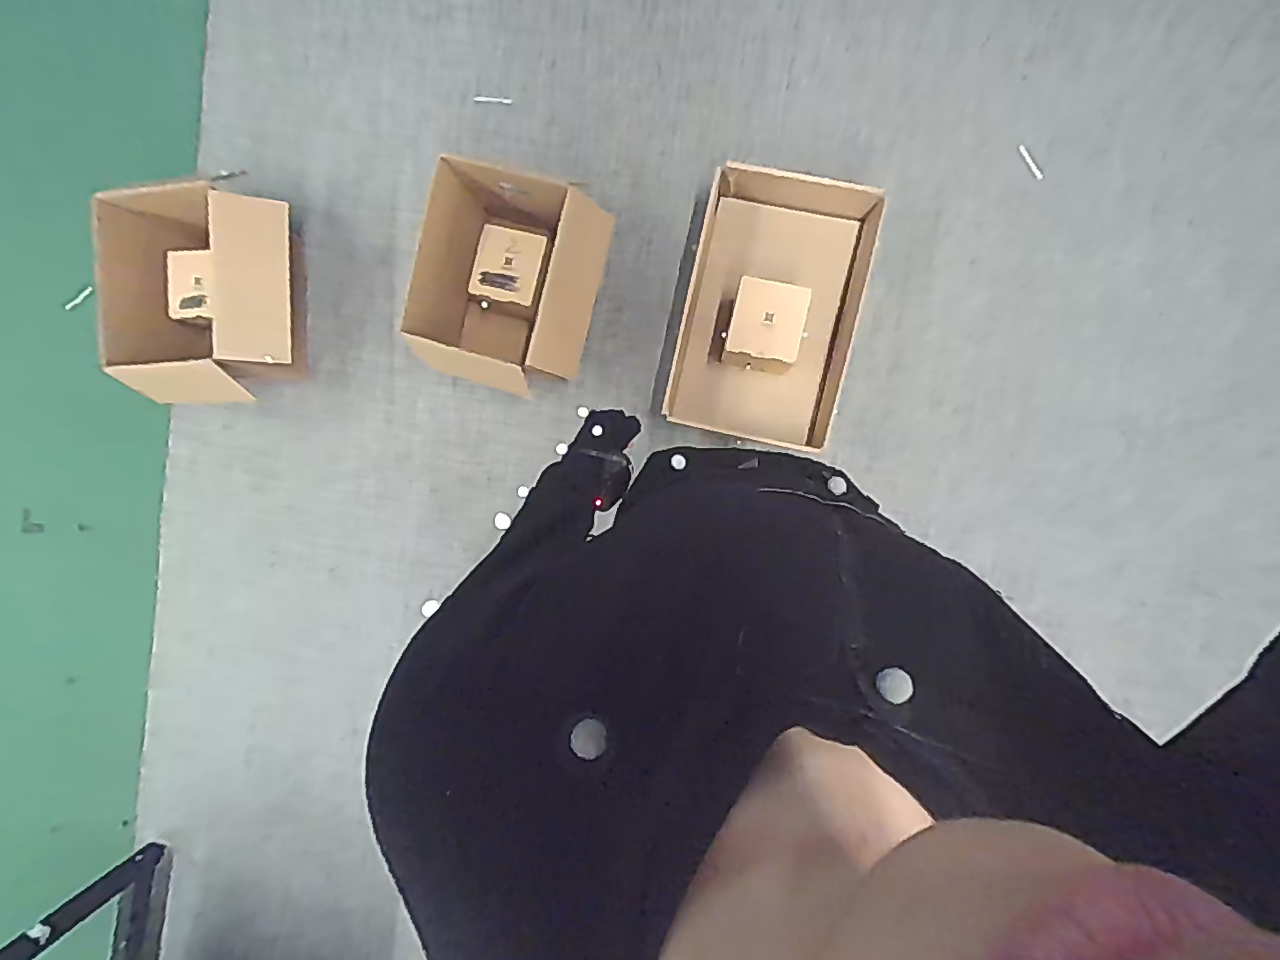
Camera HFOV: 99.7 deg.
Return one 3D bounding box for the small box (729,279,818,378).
[{"bbox_3d":[0.314,-0.359,1.311,0.168,0.176,0.179,13,93,5],"label":"small box"}]
